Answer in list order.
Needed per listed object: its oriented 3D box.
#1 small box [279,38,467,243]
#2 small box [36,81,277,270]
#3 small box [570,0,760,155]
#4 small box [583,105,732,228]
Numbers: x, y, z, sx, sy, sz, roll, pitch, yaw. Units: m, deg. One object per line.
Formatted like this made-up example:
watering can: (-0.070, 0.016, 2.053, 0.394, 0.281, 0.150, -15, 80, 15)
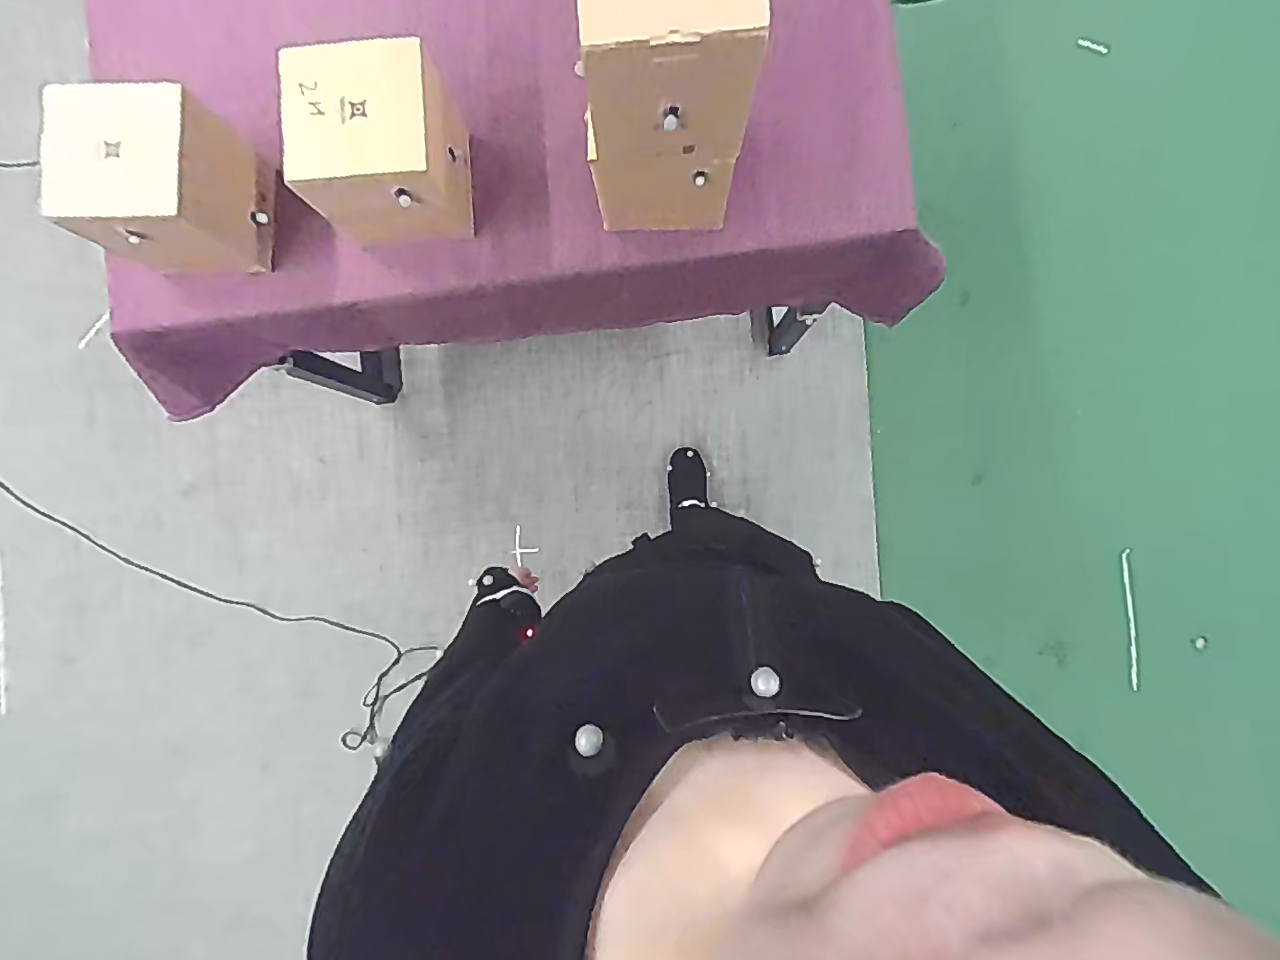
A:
small box: (-0.341, -0.438, 0.723, 0.179, 0.176, 0.168, -3, 87, 2)
small box: (-0.638, -0.398, 0.733, 0.179, 0.176, 0.168, 1, 89, 1)
small box: (0.022, -0.458, 0.548, 0.168, 0.176, 0.179, -3, 88, 1)
small box: (0.025, -0.452, 0.712, 0.179, 0.176, 0.168, 0, 88, 2)
